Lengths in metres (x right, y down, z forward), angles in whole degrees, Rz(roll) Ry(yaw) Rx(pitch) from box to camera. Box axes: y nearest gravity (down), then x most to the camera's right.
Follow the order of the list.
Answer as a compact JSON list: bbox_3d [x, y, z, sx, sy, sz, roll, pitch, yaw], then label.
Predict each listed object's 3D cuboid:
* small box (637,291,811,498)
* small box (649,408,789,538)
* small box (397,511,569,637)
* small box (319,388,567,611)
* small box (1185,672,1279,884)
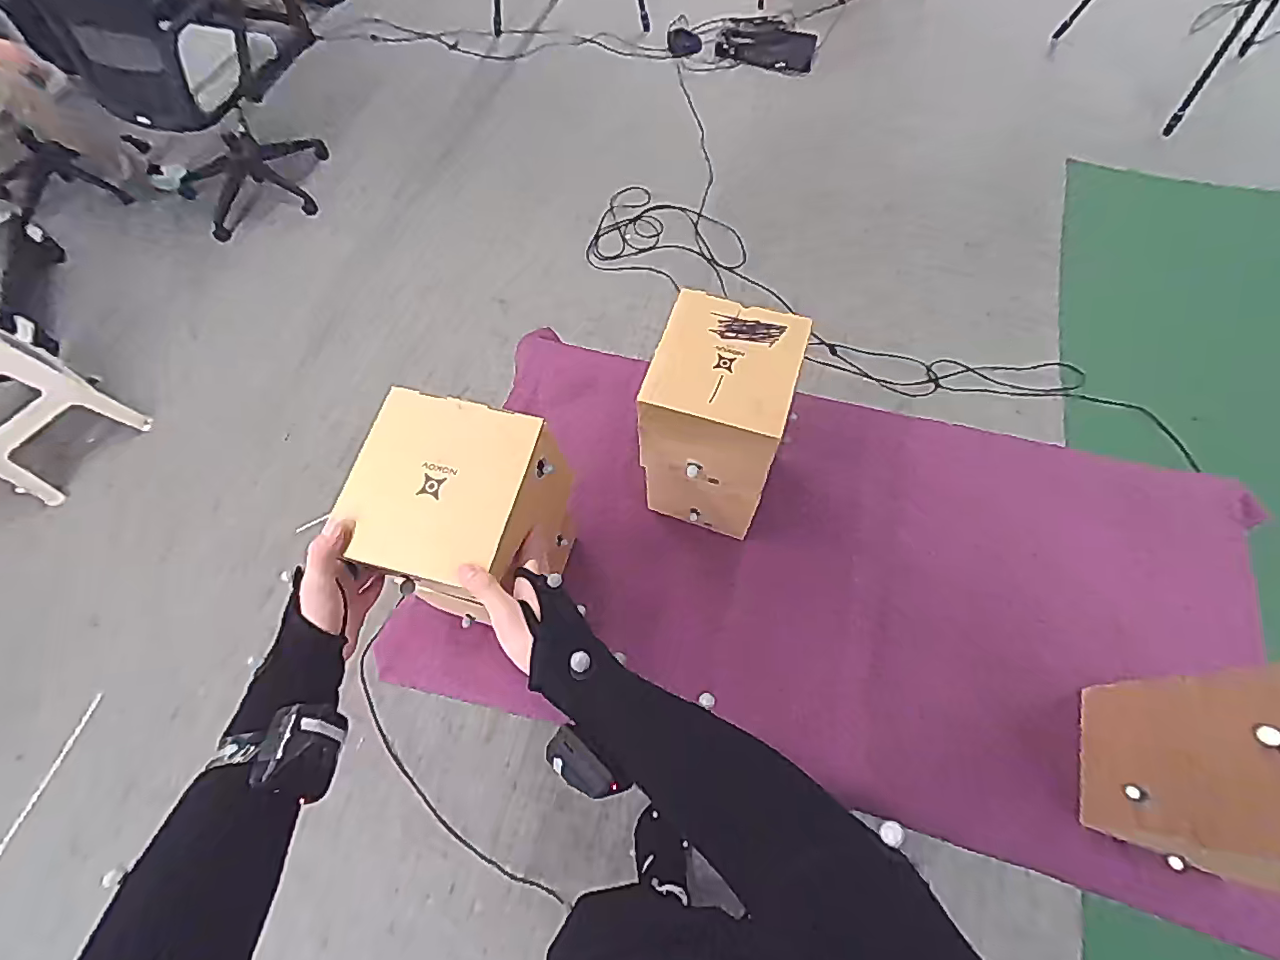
[{"bbox_3d":[0.101,-0.103,0.692,0.168,0.176,0.179,17,67,10],"label":"small box"},{"bbox_3d":[0.114,-0.035,0.842,0.168,0.176,0.179,19,67,11],"label":"small box"},{"bbox_3d":[-0.210,0.109,0.784,0.168,0.176,0.179,14,65,9],"label":"small box"},{"bbox_3d":[-0.188,0.031,0.579,0.168,0.176,0.179,13,70,8],"label":"small box"},{"bbox_3d":[0.647,0.281,0.483,0.168,0.176,0.179,17,65,12],"label":"small box"}]
